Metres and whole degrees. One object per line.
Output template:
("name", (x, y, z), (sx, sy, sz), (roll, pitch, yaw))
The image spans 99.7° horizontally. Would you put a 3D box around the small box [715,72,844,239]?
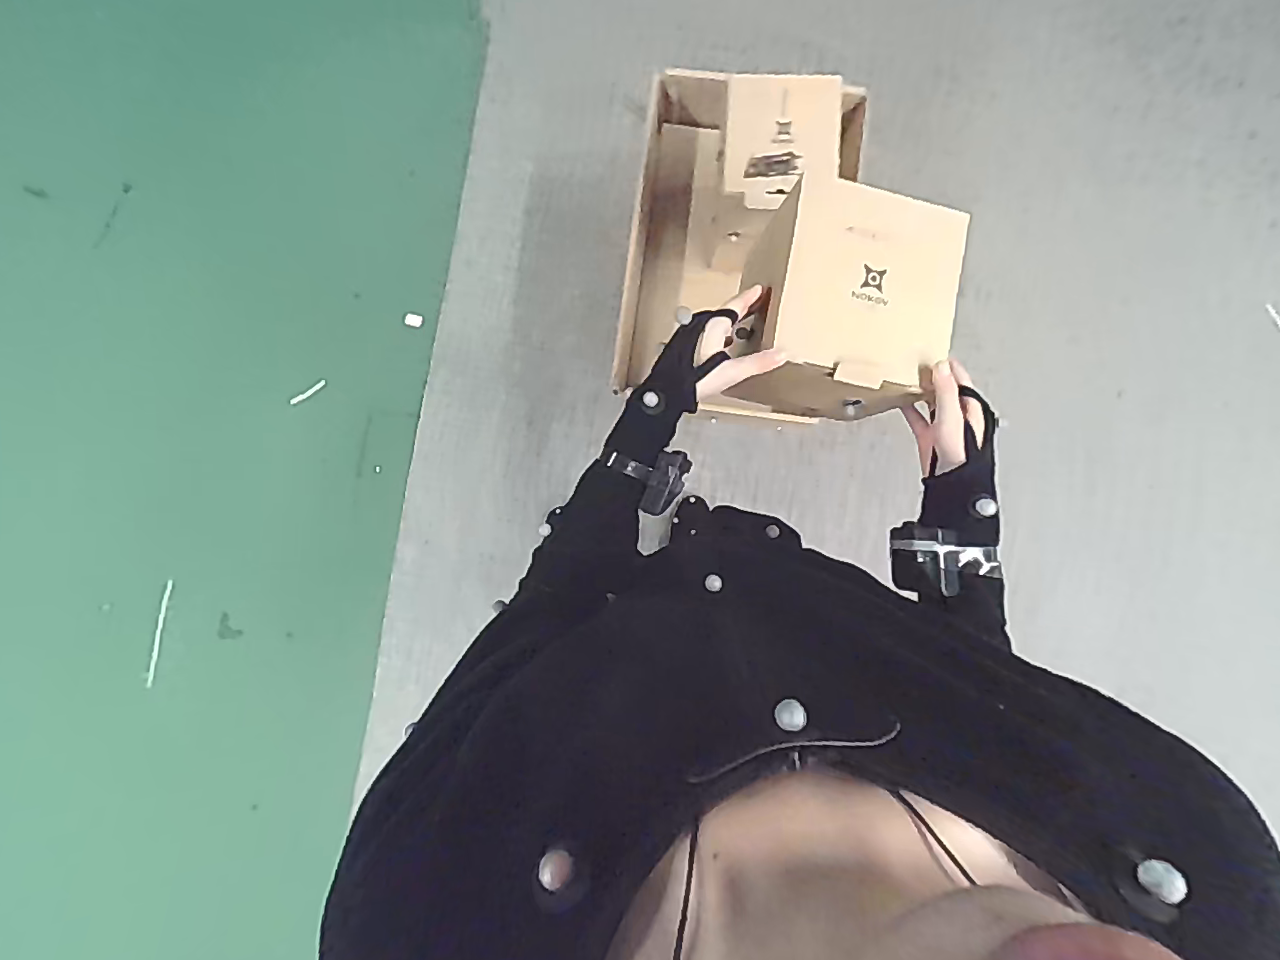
("small box", (0.213, -0.507, 0.867), (0.168, 0.176, 0.179), (3, 91, 2))
